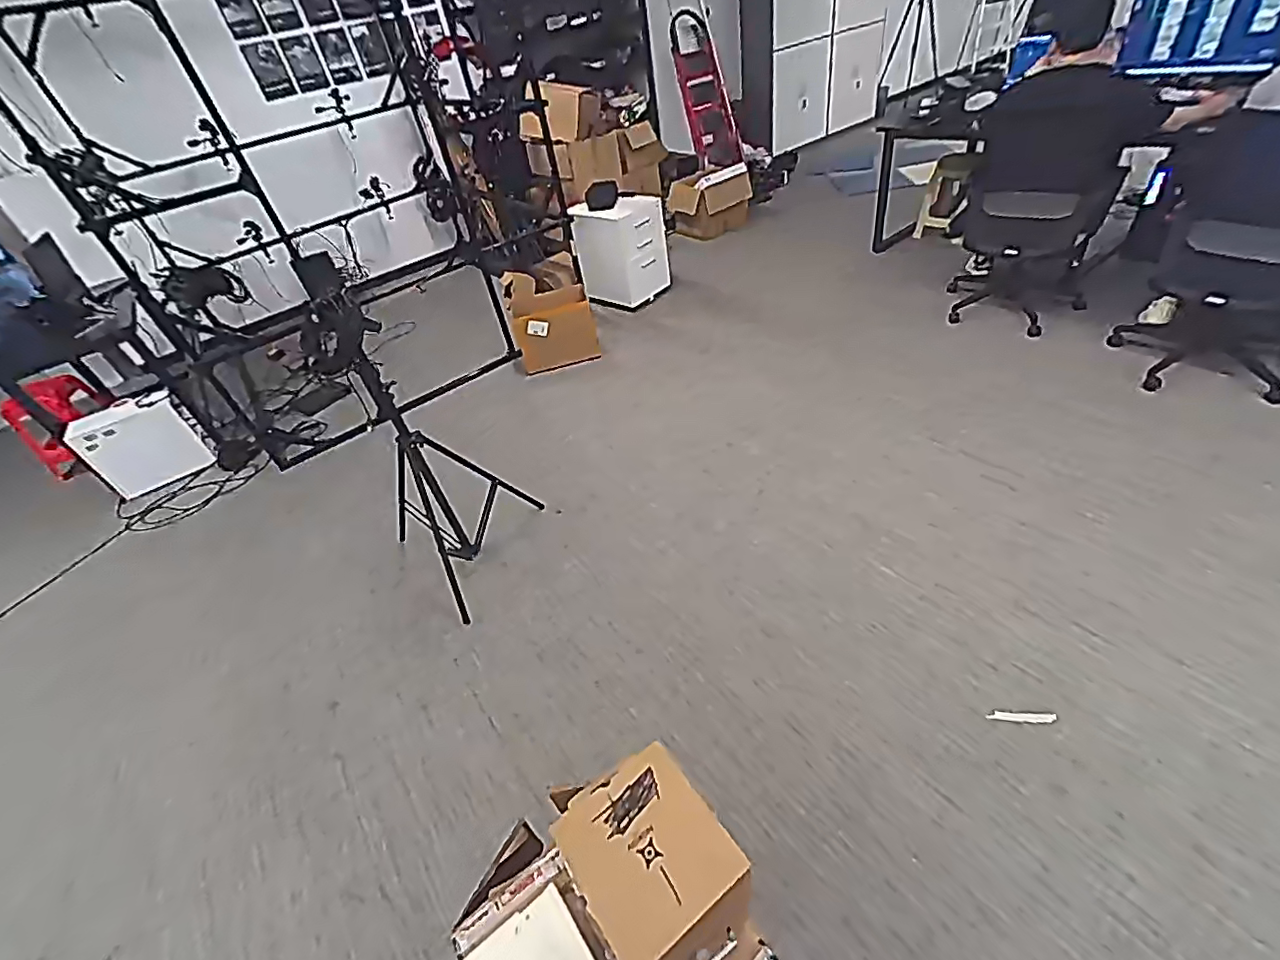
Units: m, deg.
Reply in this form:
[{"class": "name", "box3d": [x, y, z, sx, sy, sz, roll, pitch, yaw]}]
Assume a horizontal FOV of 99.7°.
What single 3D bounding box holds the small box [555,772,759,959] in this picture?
[{"class": "small box", "box3d": [0.021, 0.506, 0.651, 0.168, 0.176, 0.179, -30, 46, -22]}]
